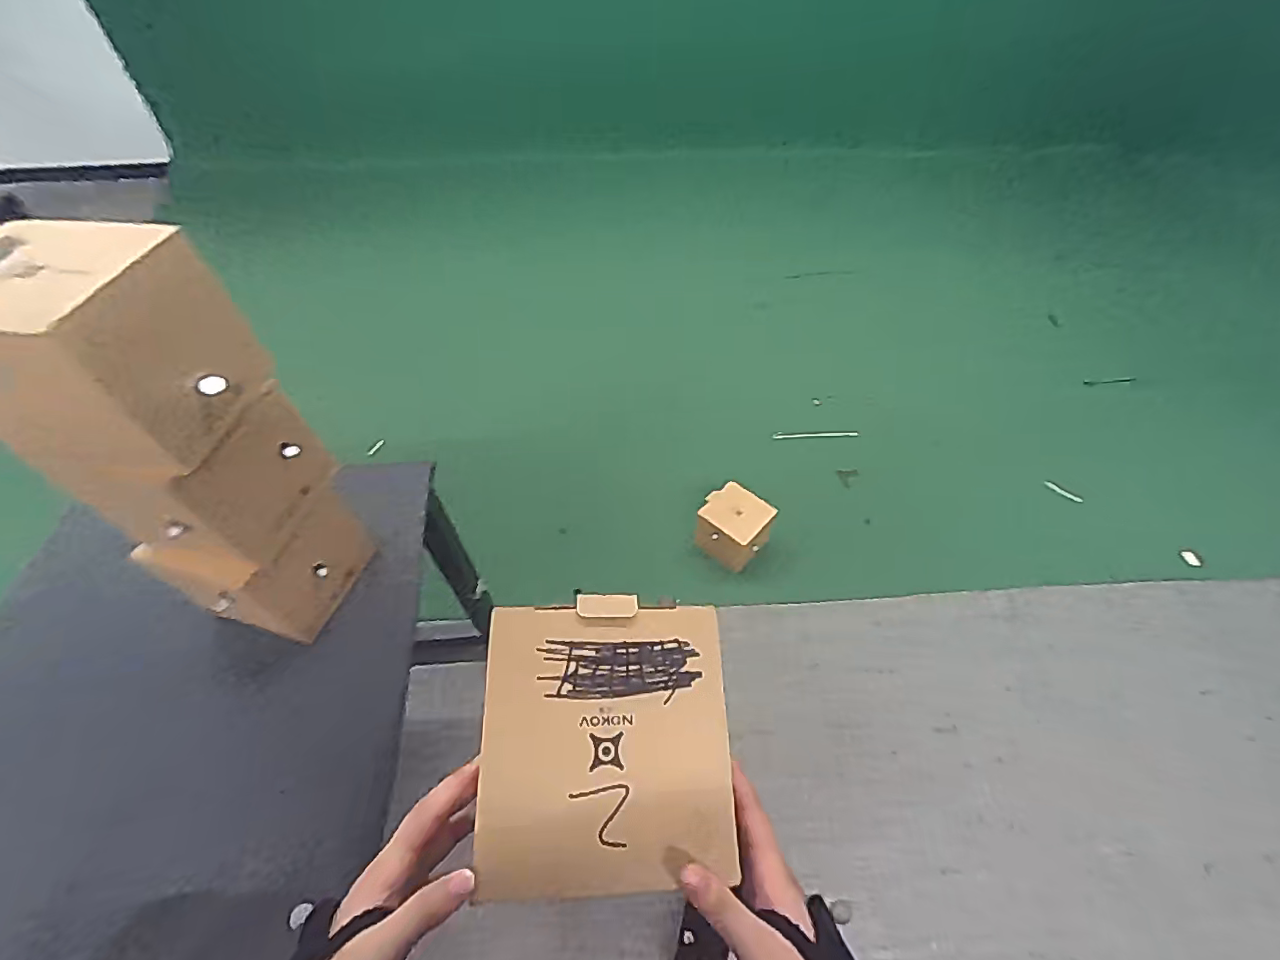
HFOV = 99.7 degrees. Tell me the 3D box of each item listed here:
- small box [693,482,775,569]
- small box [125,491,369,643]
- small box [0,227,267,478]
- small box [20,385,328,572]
[{"bbox_3d":[0.281,0.145,1.645,0.179,0.176,0.168,35,60,25],"label":"small box"},{"bbox_3d":[-0.520,0.107,0.750,0.179,0.176,0.168,12,53,13],"label":"small box"},{"bbox_3d":[-0.514,-0.117,0.510,0.179,0.176,0.168,3,52,4],"label":"small box"},{"bbox_3d":[-0.515,-0.009,0.634,0.179,0.176,0.168,7,51,10],"label":"small box"}]
